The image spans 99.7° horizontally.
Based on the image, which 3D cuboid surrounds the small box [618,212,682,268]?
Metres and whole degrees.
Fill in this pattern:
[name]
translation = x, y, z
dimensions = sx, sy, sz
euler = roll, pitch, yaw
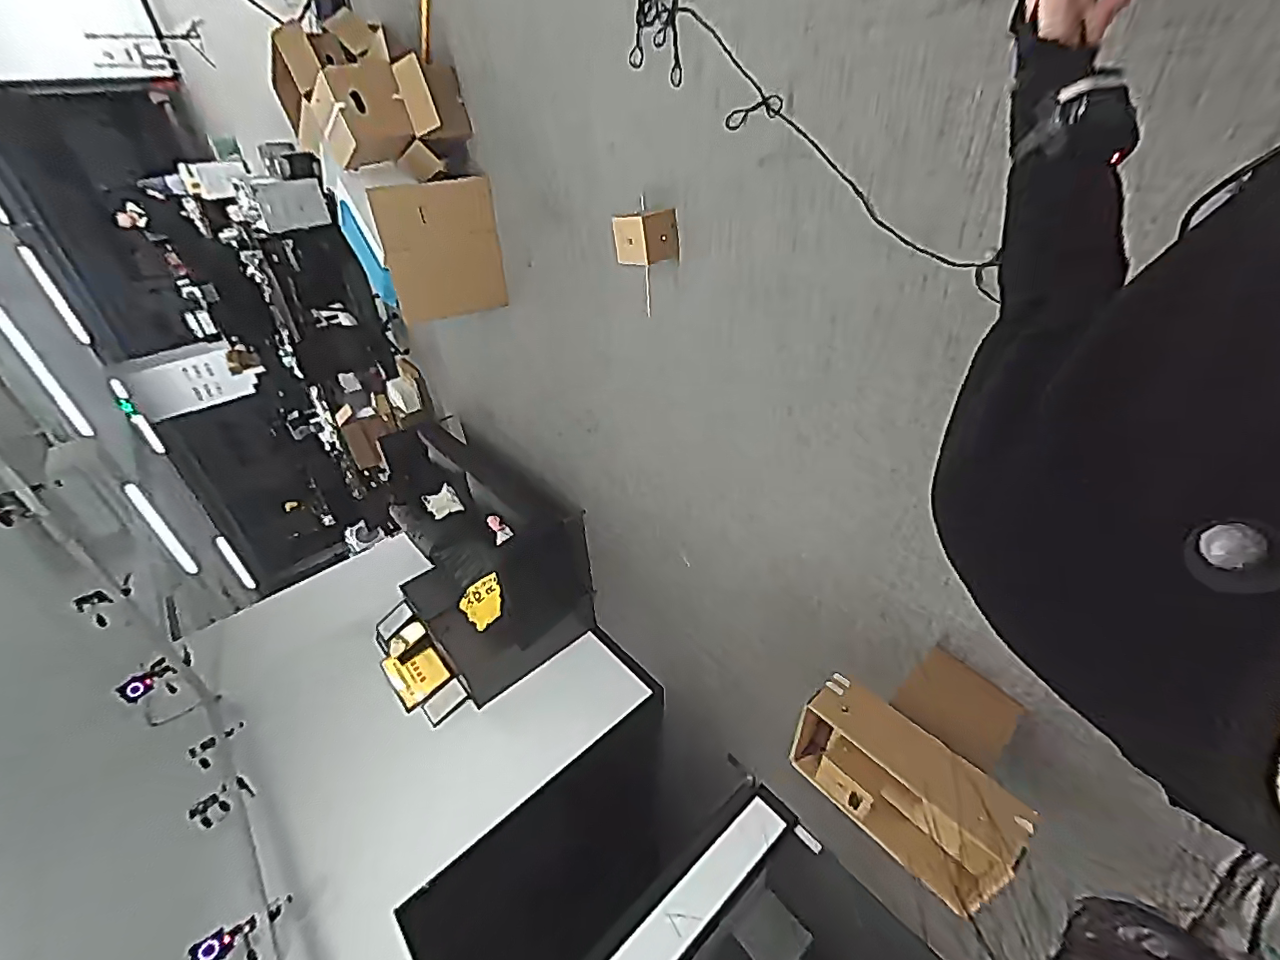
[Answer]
[small box]
translation = 0.044, -0.908, 2.038
dimensions = 0.179, 0.176, 0.168
euler = 26, 135, 45
